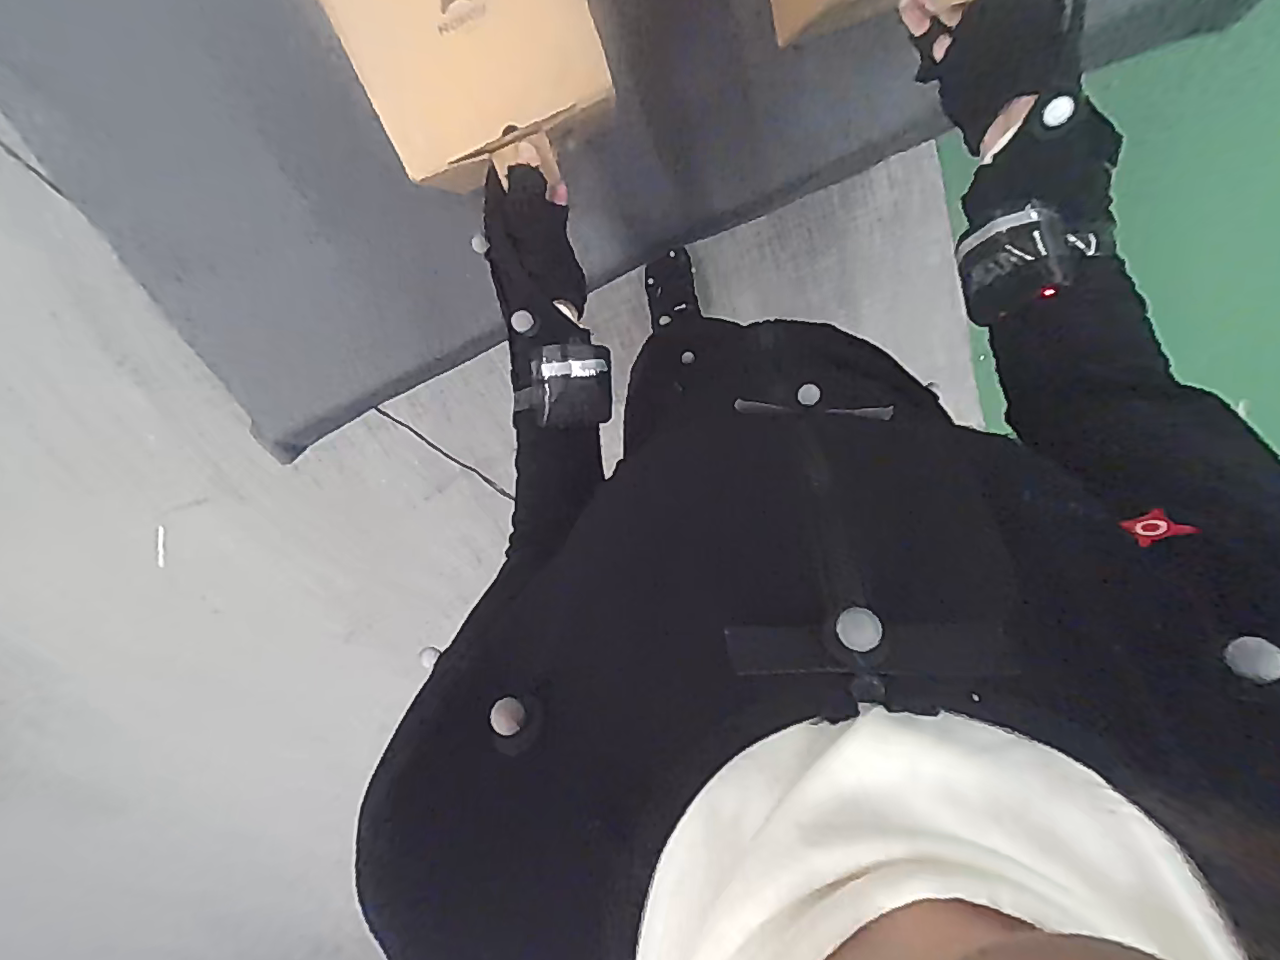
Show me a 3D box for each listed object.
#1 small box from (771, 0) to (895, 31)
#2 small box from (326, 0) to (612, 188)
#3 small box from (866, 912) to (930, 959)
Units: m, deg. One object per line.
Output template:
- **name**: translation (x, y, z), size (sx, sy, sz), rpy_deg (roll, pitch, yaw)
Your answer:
- **small box**: translation (0.184, -0.459, 0.385), size (0.168, 0.176, 0.179), rpy_deg (-18, 118, 4)
- **small box**: translation (-0.127, -0.358, 0.437), size (0.168, 0.176, 0.179), rpy_deg (-21, 115, 6)
- **small box**: translation (0.918, 1.672, 1.900), size (0.179, 0.176, 0.168), rpy_deg (-23, 108, 10)
